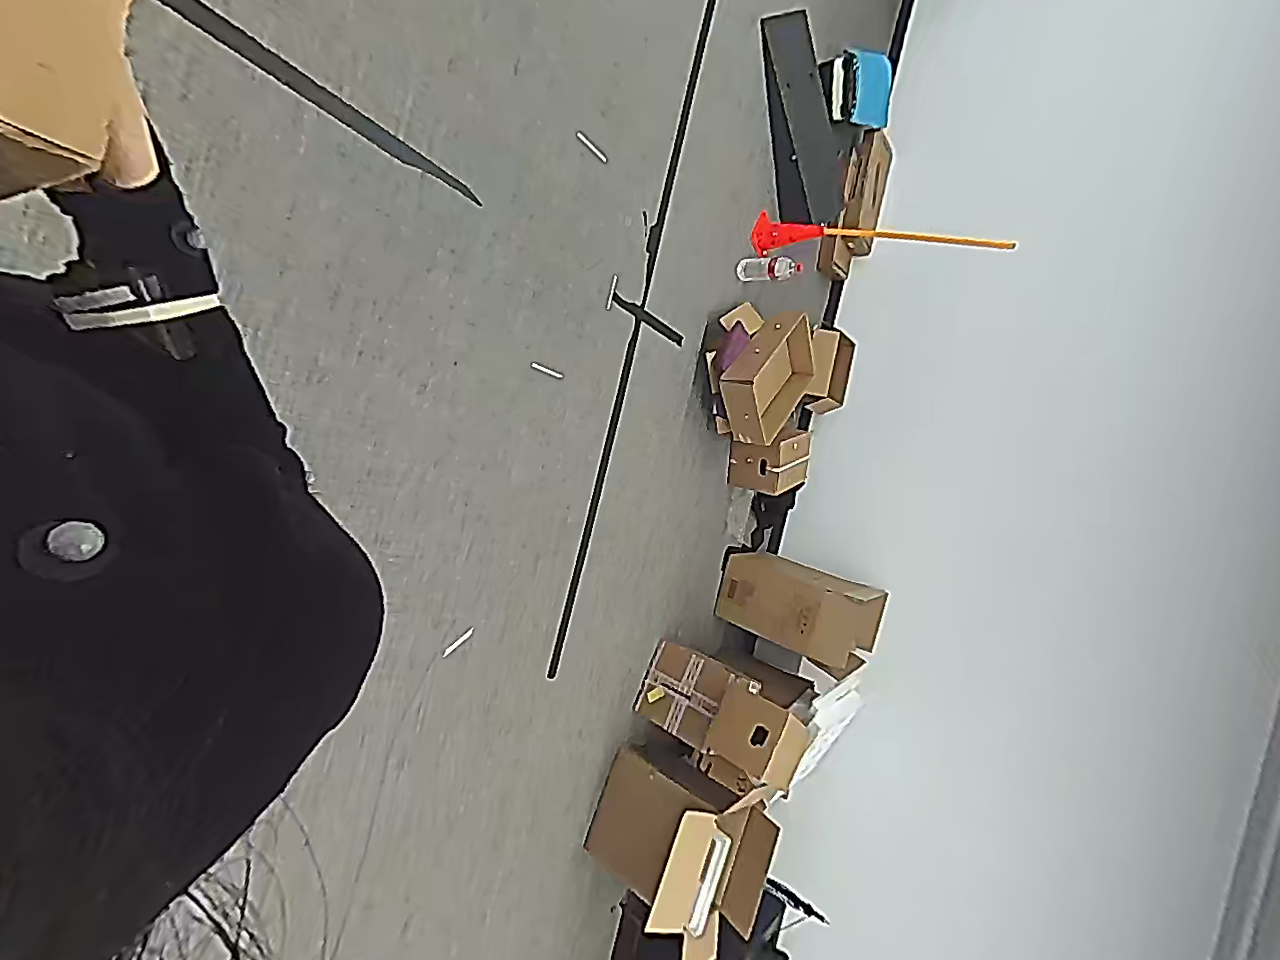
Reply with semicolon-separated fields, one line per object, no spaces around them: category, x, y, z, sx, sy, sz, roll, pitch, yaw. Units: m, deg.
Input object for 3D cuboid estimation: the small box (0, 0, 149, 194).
small box;-0.326;-0.240;0.211;0.168;0.176;0.179;11;89;-61
